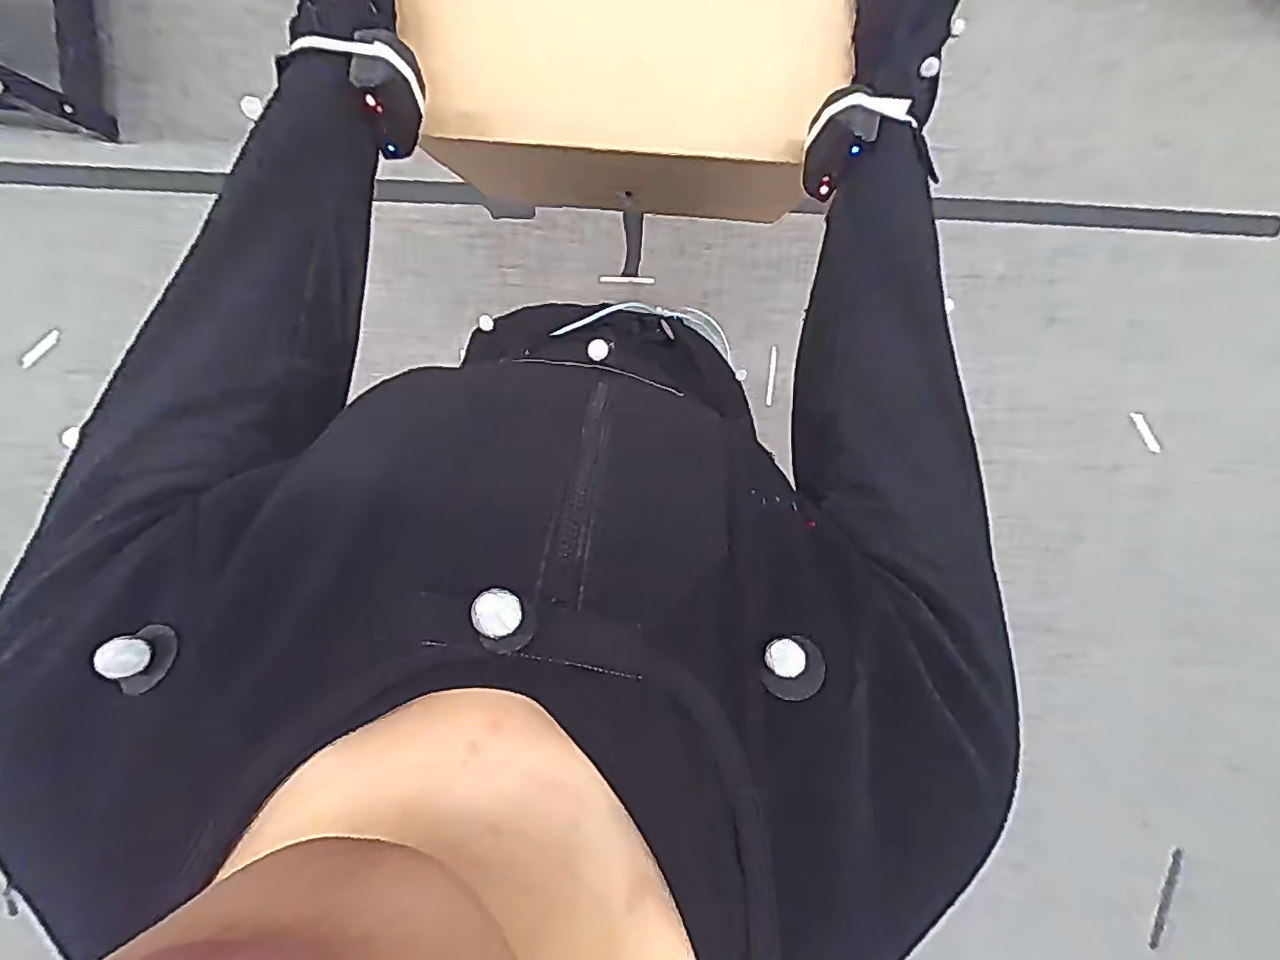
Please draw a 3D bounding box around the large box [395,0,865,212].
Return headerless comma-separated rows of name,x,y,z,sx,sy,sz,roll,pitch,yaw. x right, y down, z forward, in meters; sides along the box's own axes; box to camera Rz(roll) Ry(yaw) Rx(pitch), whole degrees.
large box,0.000,-0.491,0.585,0.408,0.320,0.320,5,106,1
